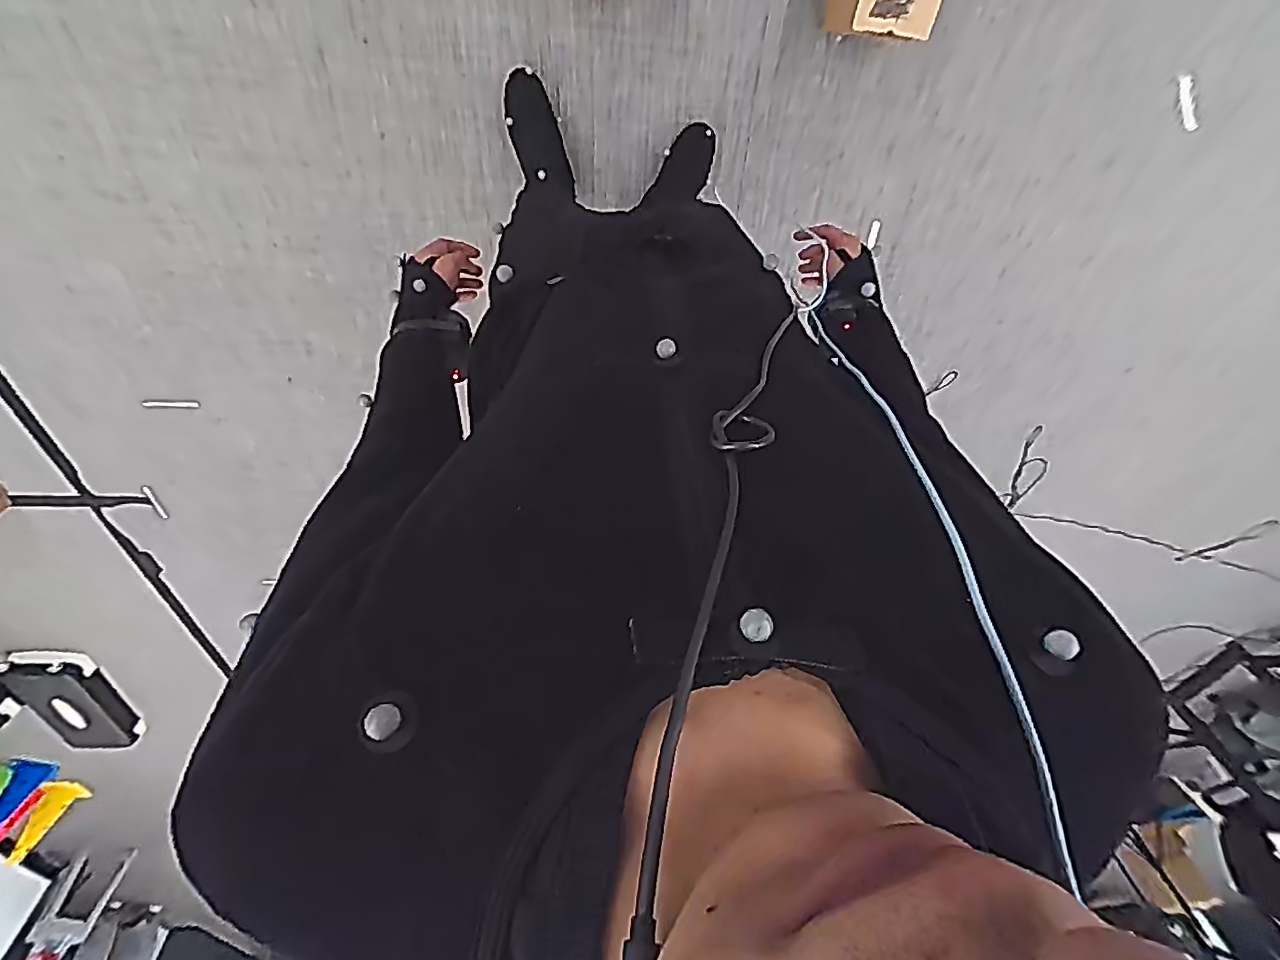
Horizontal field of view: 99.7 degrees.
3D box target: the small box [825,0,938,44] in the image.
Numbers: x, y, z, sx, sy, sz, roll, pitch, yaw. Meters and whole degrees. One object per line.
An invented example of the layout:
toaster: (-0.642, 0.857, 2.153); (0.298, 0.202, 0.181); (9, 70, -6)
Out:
small box: (0.489, -0.992, 1.076); (0.168, 0.176, 0.179); (2, 128, -8)
